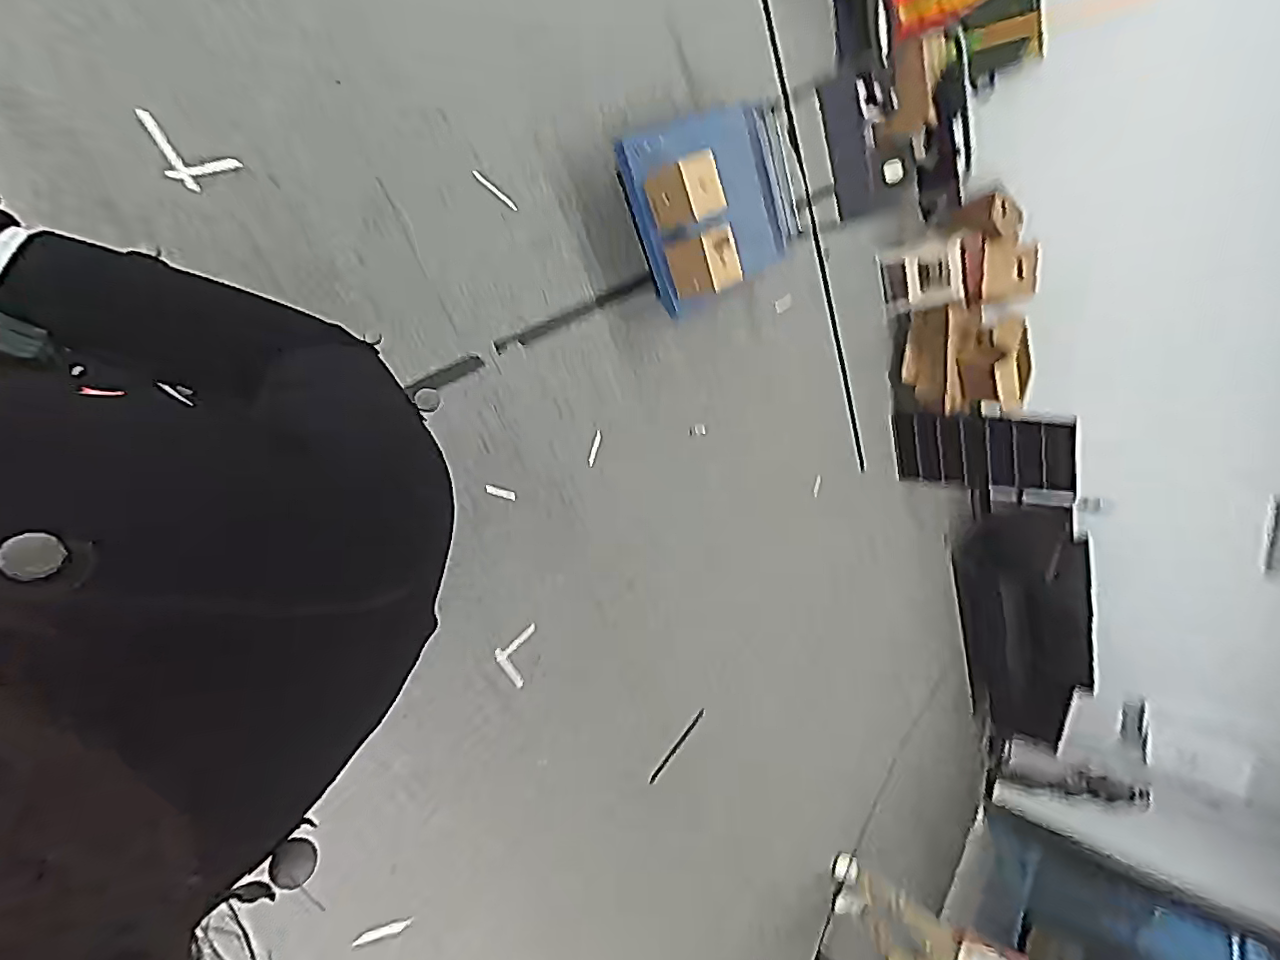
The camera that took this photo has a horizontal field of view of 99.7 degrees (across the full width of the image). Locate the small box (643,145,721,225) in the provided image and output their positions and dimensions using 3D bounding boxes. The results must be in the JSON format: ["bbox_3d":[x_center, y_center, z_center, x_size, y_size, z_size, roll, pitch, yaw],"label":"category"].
[{"bbox_3d":[0.129,-0.950,1.750,0.179,0.176,0.168,-42,121,-33],"label":"small box"}]
